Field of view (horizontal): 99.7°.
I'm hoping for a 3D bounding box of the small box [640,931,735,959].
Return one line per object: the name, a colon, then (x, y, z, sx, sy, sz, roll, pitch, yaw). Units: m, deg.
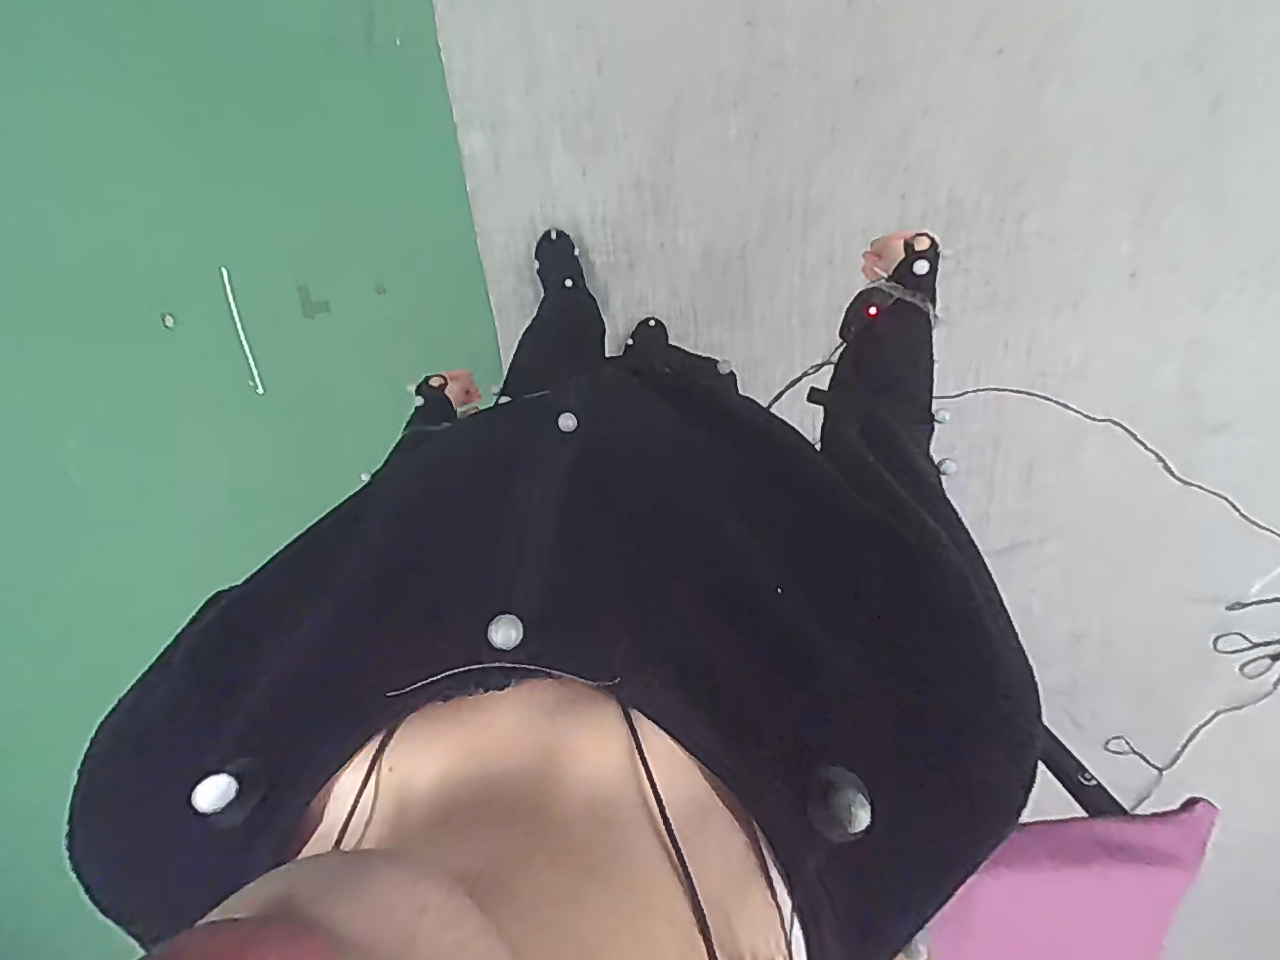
small box: (0.090, 0.953, 0.968, 0.179, 0.176, 0.168, -5, 109, 2)
